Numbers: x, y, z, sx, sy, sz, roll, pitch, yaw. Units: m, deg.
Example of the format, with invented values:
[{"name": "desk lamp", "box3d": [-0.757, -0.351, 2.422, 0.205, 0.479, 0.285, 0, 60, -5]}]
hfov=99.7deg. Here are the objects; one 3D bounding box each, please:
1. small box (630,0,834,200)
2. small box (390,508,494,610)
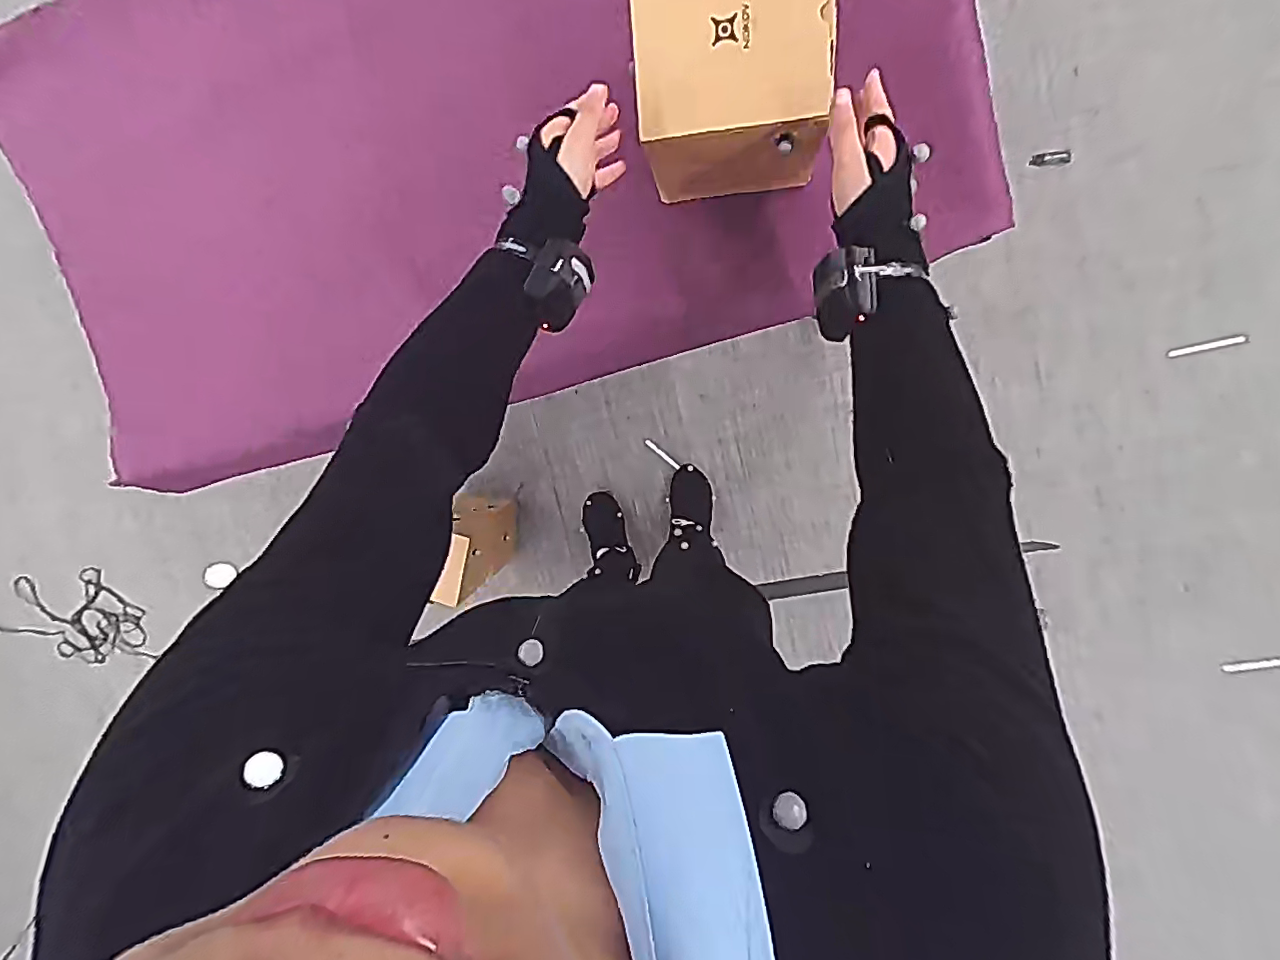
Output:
[{"name": "small box", "box3d": [0.091, -0.408, 0.553, 0.179, 0.176, 0.168, -3, 98, 9]}, {"name": "small box", "box3d": [-0.465, 0.180, 1.297, 0.168, 0.176, 0.179, 15, 102, 4]}]
